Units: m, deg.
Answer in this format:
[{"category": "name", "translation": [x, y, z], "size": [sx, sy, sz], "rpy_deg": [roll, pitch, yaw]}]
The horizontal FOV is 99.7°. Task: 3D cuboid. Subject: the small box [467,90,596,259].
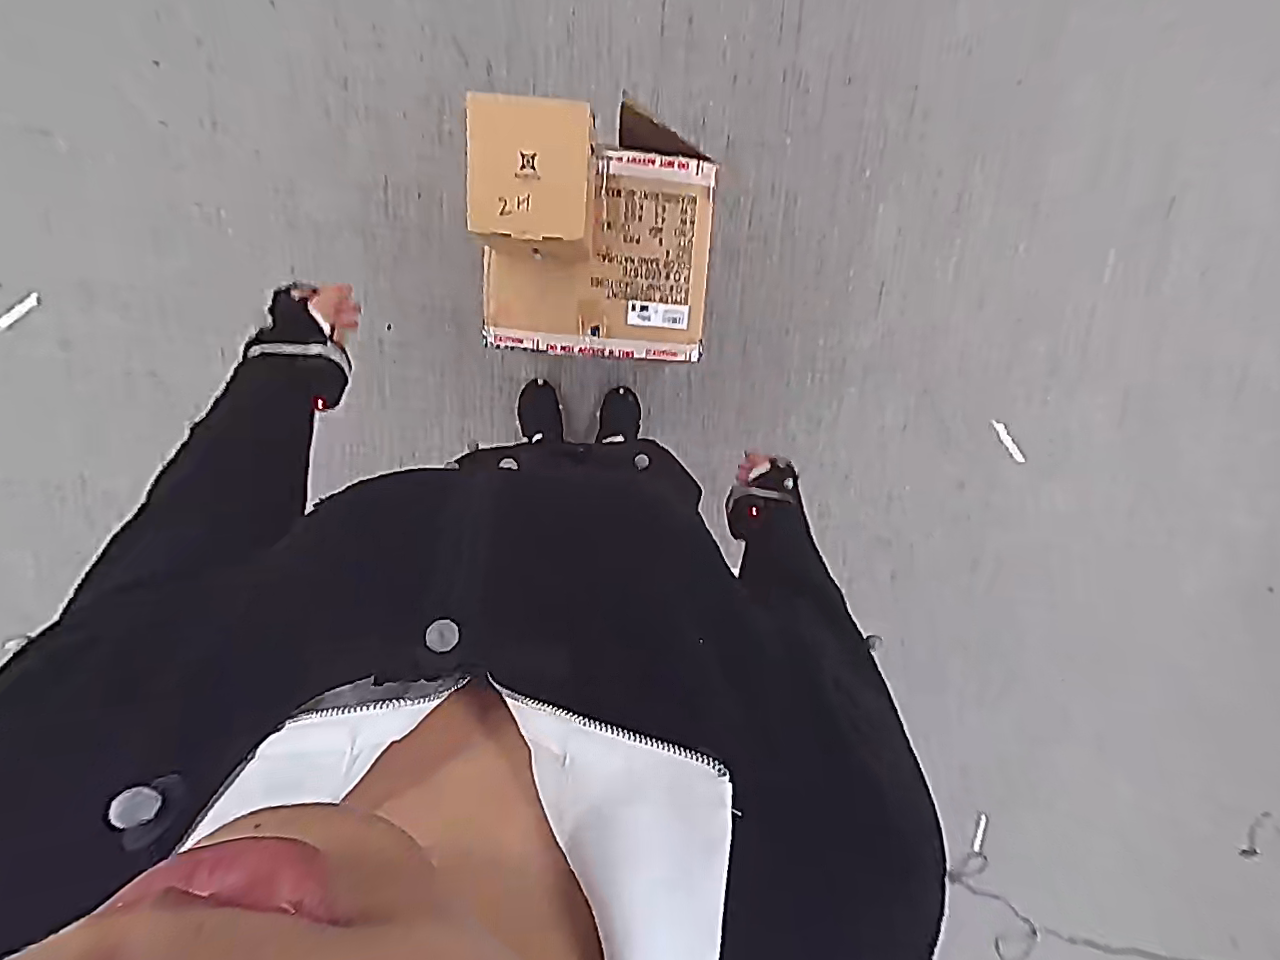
[{"category": "small box", "translation": [-0.156, -0.445, 0.815], "size": [0.168, 0.176, 0.179], "rpy_deg": [4, 104, -3]}]
